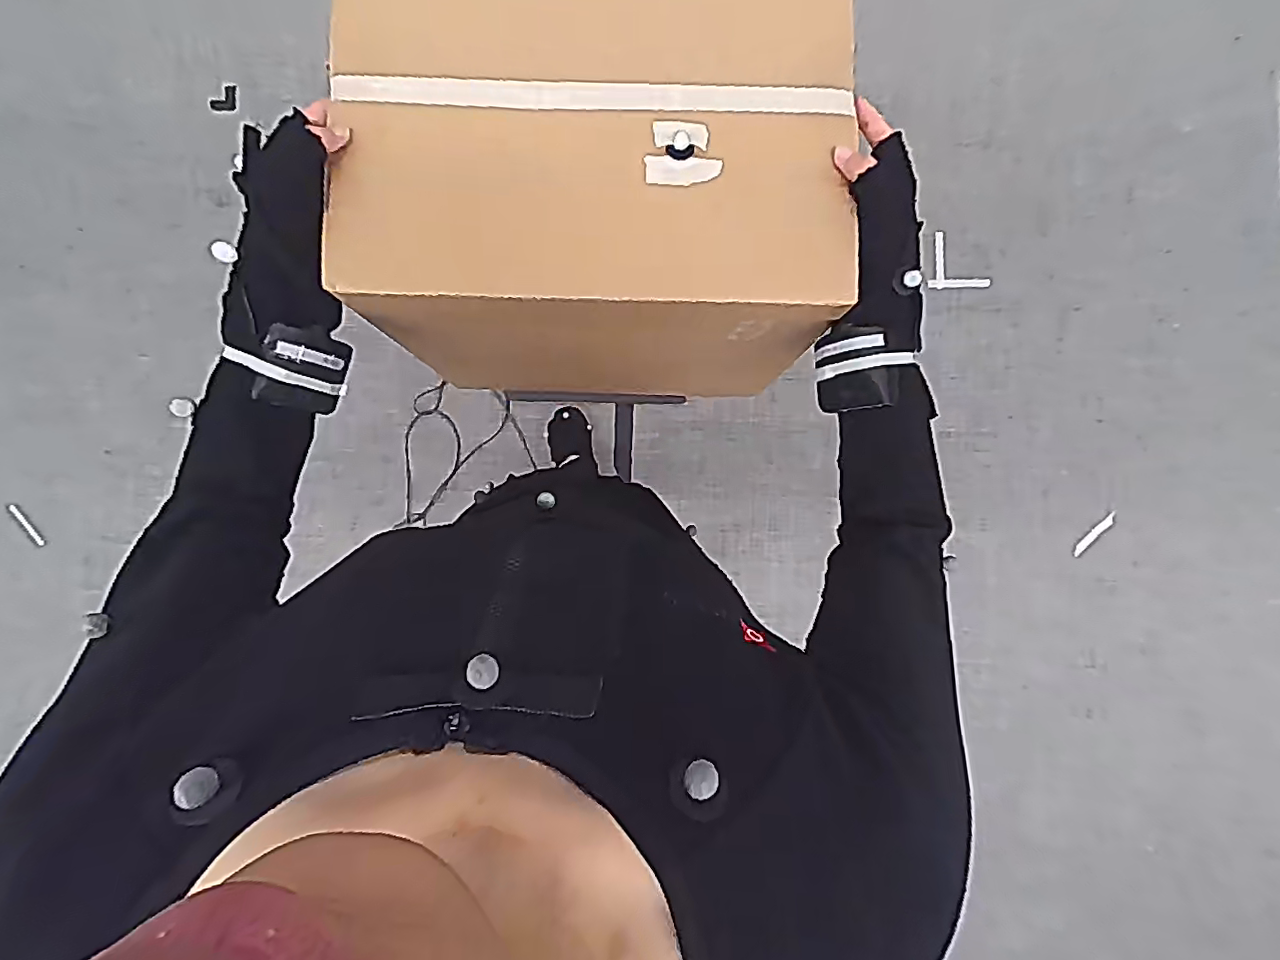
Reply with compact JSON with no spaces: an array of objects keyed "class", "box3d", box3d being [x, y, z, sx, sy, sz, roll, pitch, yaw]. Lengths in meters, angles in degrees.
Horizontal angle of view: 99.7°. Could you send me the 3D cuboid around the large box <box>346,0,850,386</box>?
[{"class":"large box","box3d":[-0.035,-0.290,0.585,0.408,0.320,0.320,1,86,-1]}]
